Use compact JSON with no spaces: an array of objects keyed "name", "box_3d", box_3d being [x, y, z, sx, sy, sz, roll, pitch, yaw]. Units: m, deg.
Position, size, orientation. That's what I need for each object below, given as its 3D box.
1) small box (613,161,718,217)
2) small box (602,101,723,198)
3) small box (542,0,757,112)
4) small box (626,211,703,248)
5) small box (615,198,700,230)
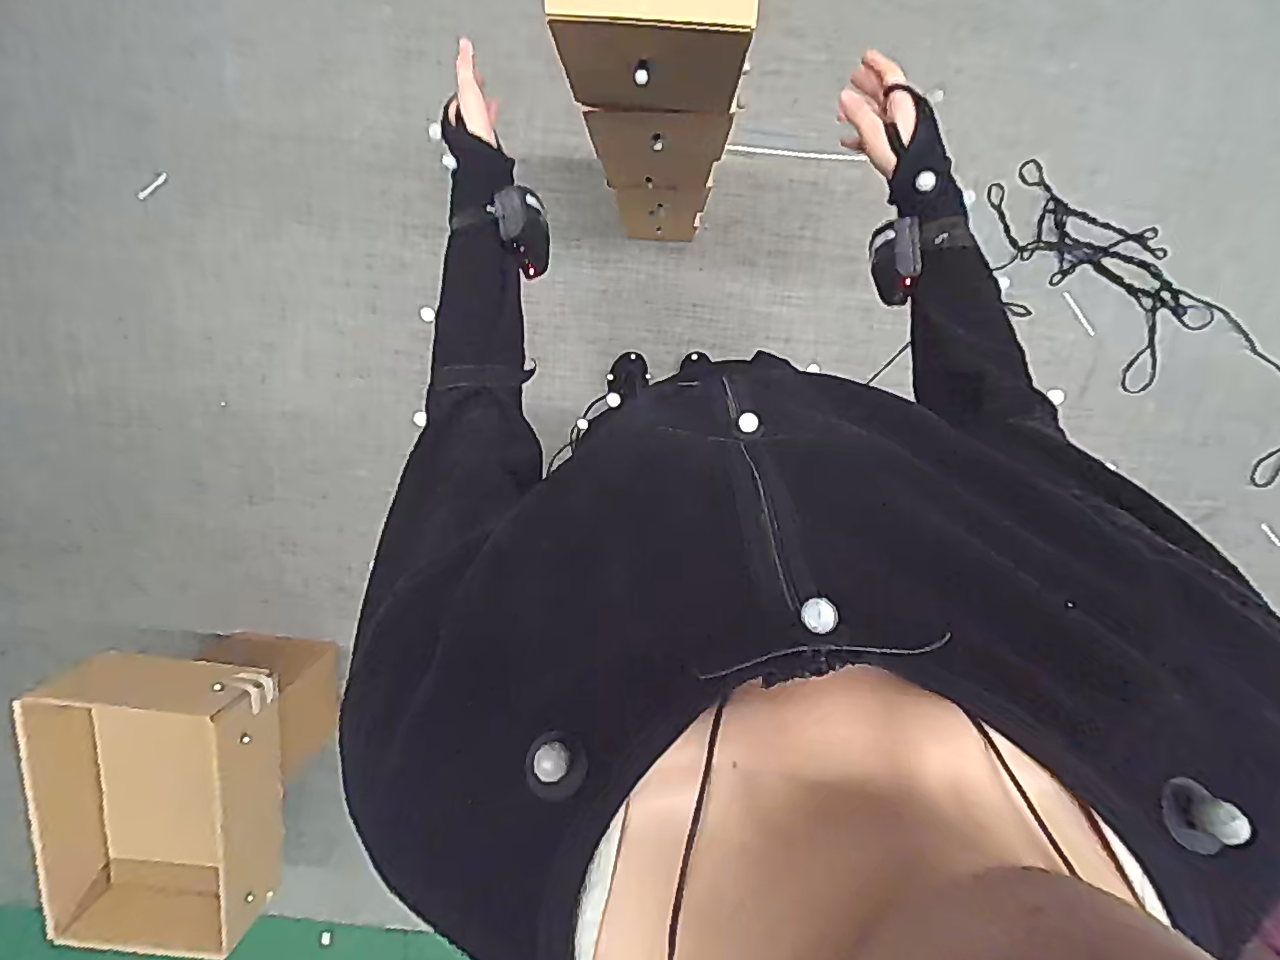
[{"name":"small box","box_3d":[0.046,-0.585,0.976,0.179,0.176,0.168,3,102,1]},{"name":"small box","box_3d":[0.034,-0.550,0.818,0.168,0.176,0.179,3,103,2]},{"name":"small box","box_3d":[0.017,-0.469,0.500,0.179,0.176,0.168,5,103,3]},{"name":"small box","box_3d":[0.062,-0.664,1.293,0.179,0.176,0.168,4,102,0]},{"name":"small box","box_3d":[0.047,-0.633,1.133,0.179,0.176,0.168,5,103,1]}]
